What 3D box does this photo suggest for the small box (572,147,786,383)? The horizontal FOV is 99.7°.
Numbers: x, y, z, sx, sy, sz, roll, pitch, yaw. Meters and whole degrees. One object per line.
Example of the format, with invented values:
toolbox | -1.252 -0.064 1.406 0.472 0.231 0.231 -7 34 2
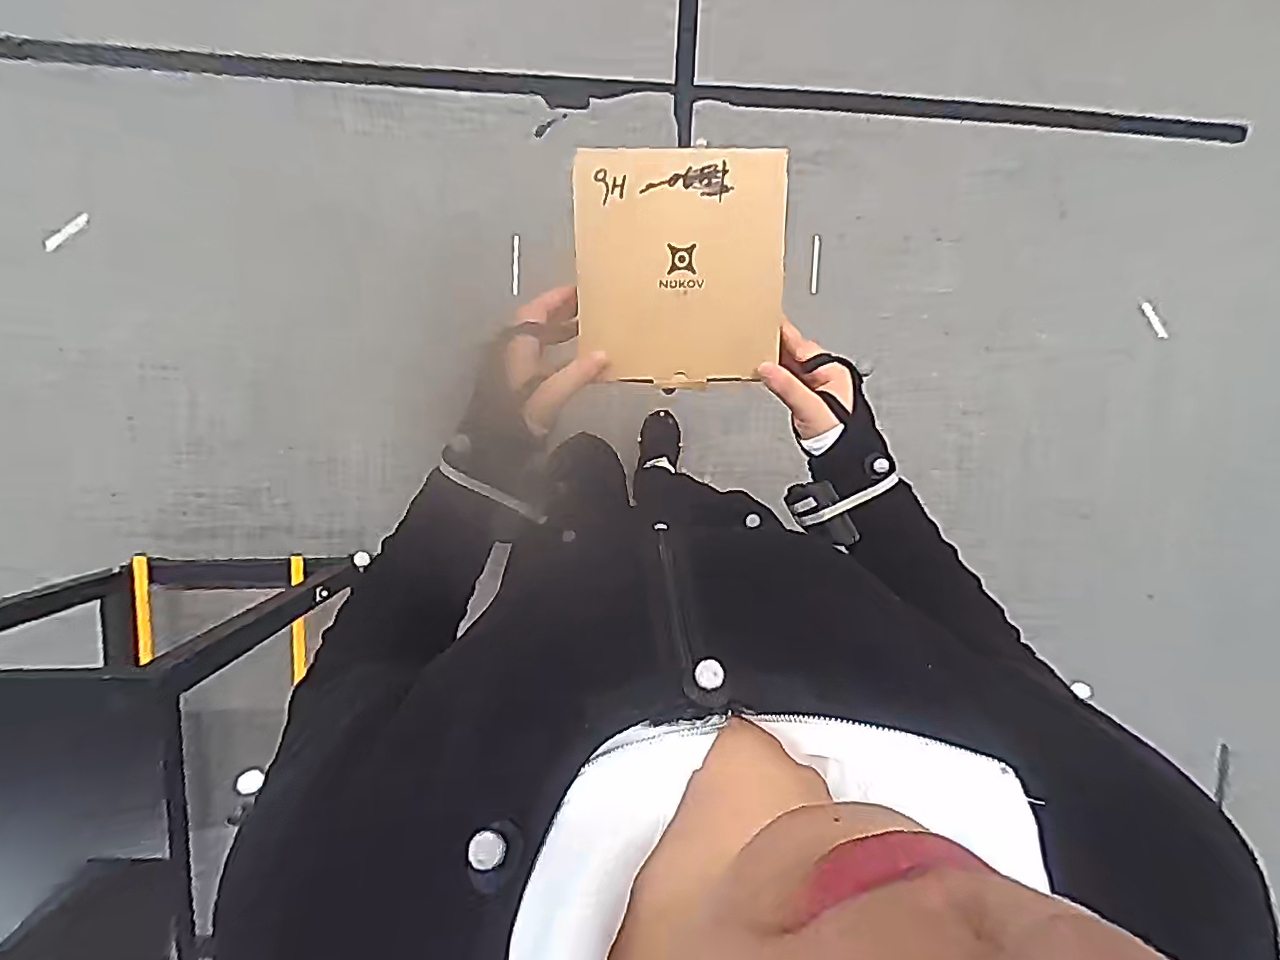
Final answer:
small box | 0.028 -0.188 0.506 0.168 0.176 0.179 -2 105 -2
